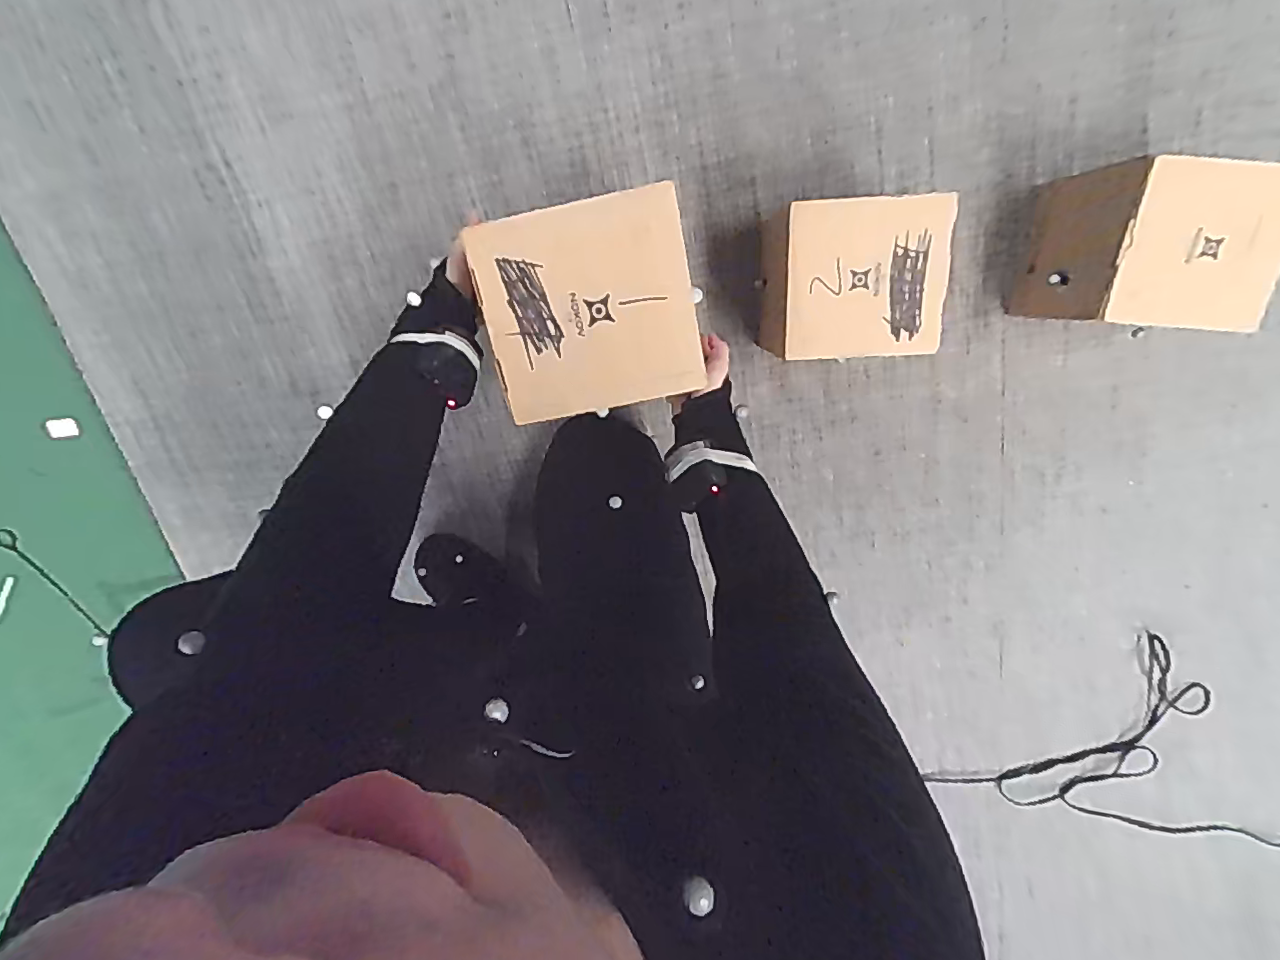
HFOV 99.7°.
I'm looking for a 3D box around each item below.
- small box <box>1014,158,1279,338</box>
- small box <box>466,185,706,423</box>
[{"bbox_3d":[0.597,-0.265,0.645,0.179,0.176,0.168,5,109,-1],"label":"small box"},{"bbox_3d":[-0.040,-0.163,0.524,0.179,0.176,0.168,-11,108,4],"label":"small box"}]
